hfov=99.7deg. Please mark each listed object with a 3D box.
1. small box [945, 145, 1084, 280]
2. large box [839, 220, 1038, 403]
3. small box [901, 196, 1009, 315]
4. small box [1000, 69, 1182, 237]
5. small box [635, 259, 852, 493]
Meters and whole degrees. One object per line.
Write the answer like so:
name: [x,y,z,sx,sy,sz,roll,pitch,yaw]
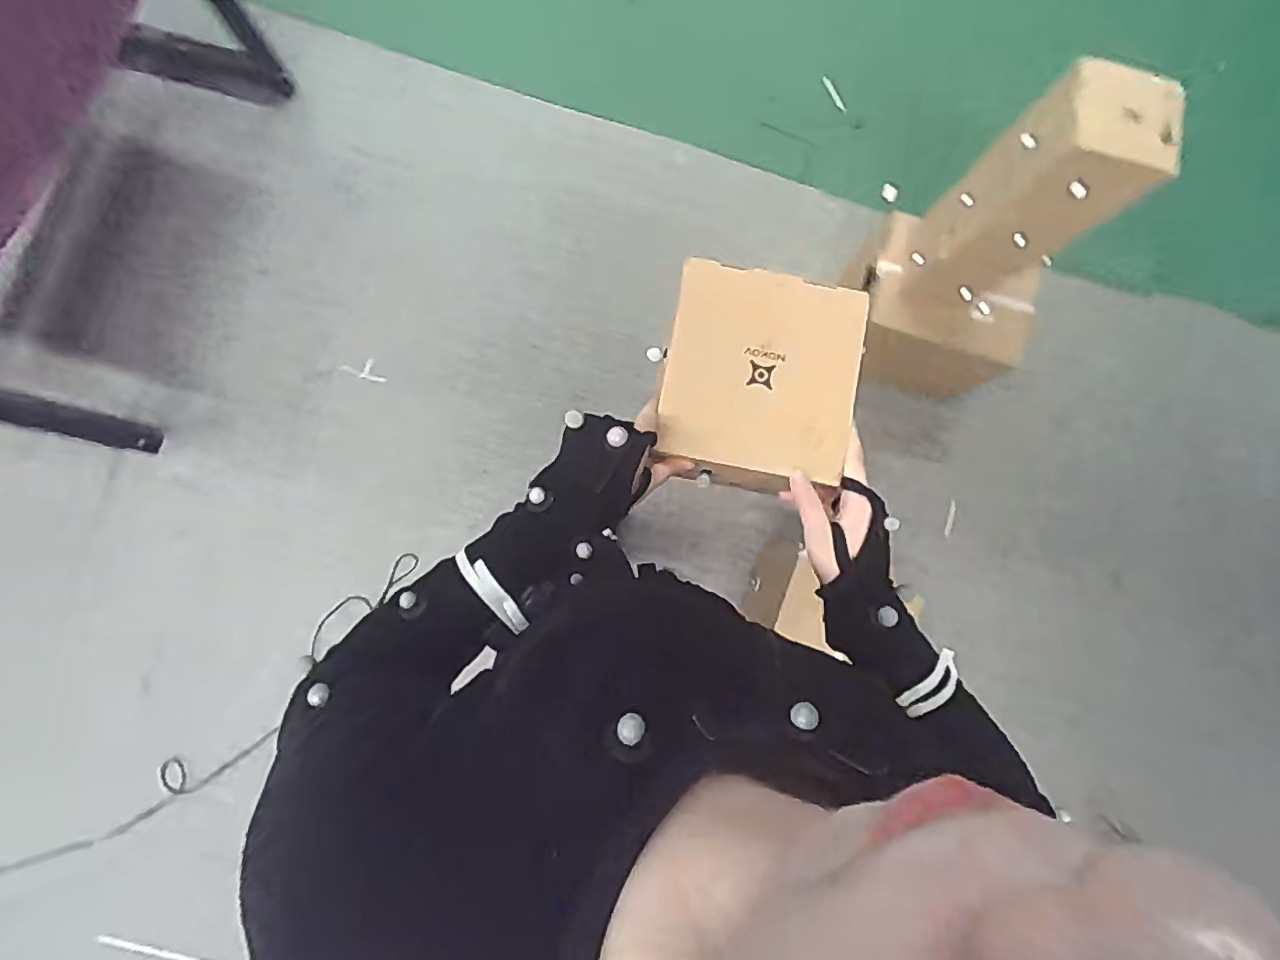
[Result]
small box: [0.759,-0.534,1.103,0.179,0.176,0.168,12,82,-4]
large box: [0.784,-0.446,1.505,0.408,0.320,0.320,17,82,-3]
small box: [0.740,-0.515,1.264,0.168,0.176,0.179,16,81,-3]
small box: [0.770,-0.554,0.939,0.179,0.176,0.168,13,82,-2]
small box: [0.088,-0.087,0.541,0.168,0.176,0.179,10,83,-2]
